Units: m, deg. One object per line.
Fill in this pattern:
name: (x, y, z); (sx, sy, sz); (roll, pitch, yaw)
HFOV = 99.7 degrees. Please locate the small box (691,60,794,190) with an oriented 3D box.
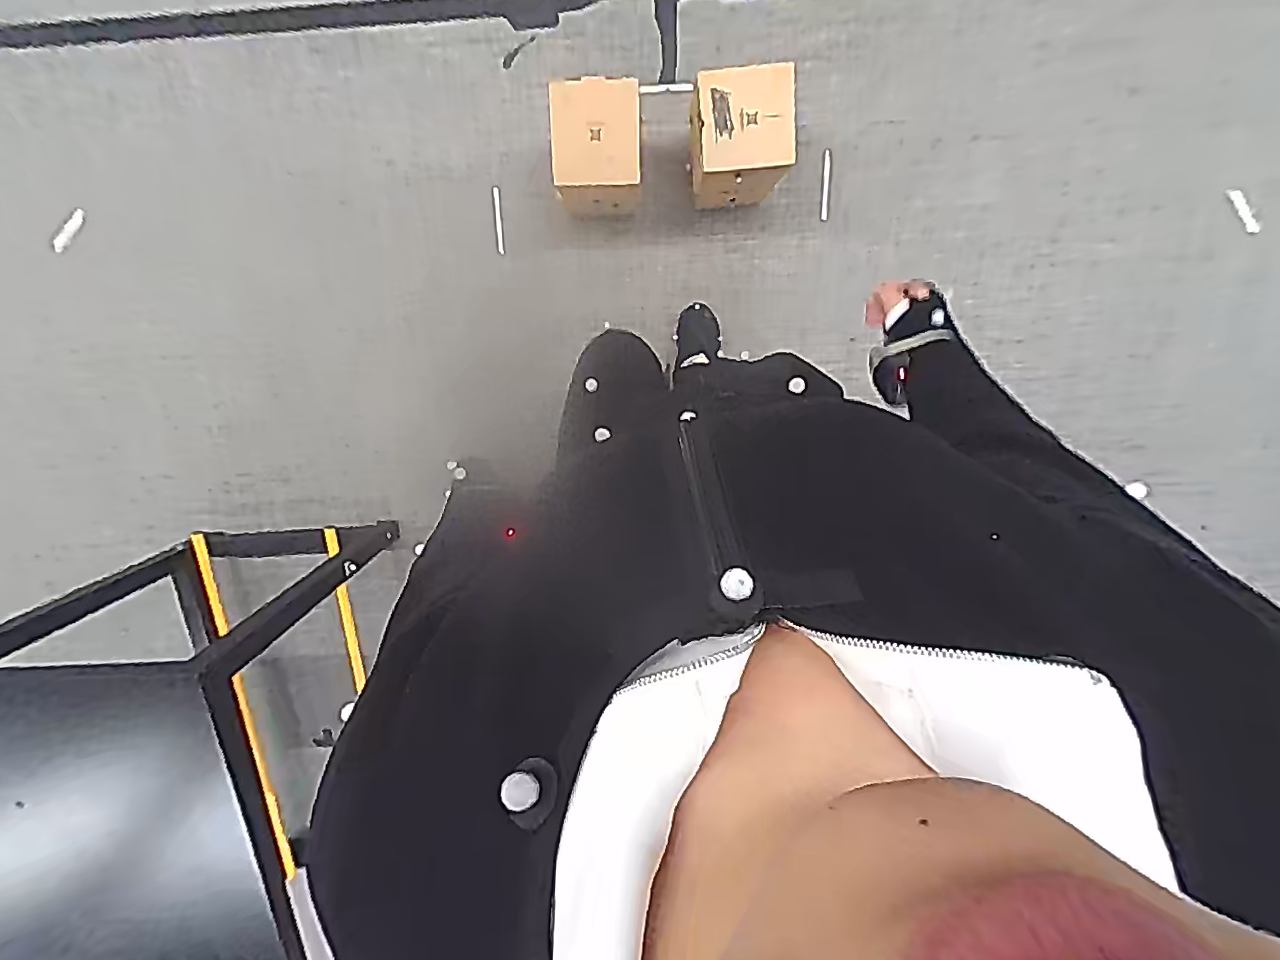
small box: (0.192, -0.678, 1.053); (0.179, 0.176, 0.168); (-5, 106, 1)

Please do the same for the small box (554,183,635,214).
small box: (-0.098, -0.705, 1.217); (0.179, 0.176, 0.168); (-1, 106, 1)

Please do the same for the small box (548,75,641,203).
small box: (-0.082, -0.658, 1.062); (0.168, 0.176, 0.179); (-1, 107, 2)

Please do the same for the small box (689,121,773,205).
small box: (0.200, -0.727, 1.211); (0.168, 0.176, 0.179); (-4, 107, 2)
